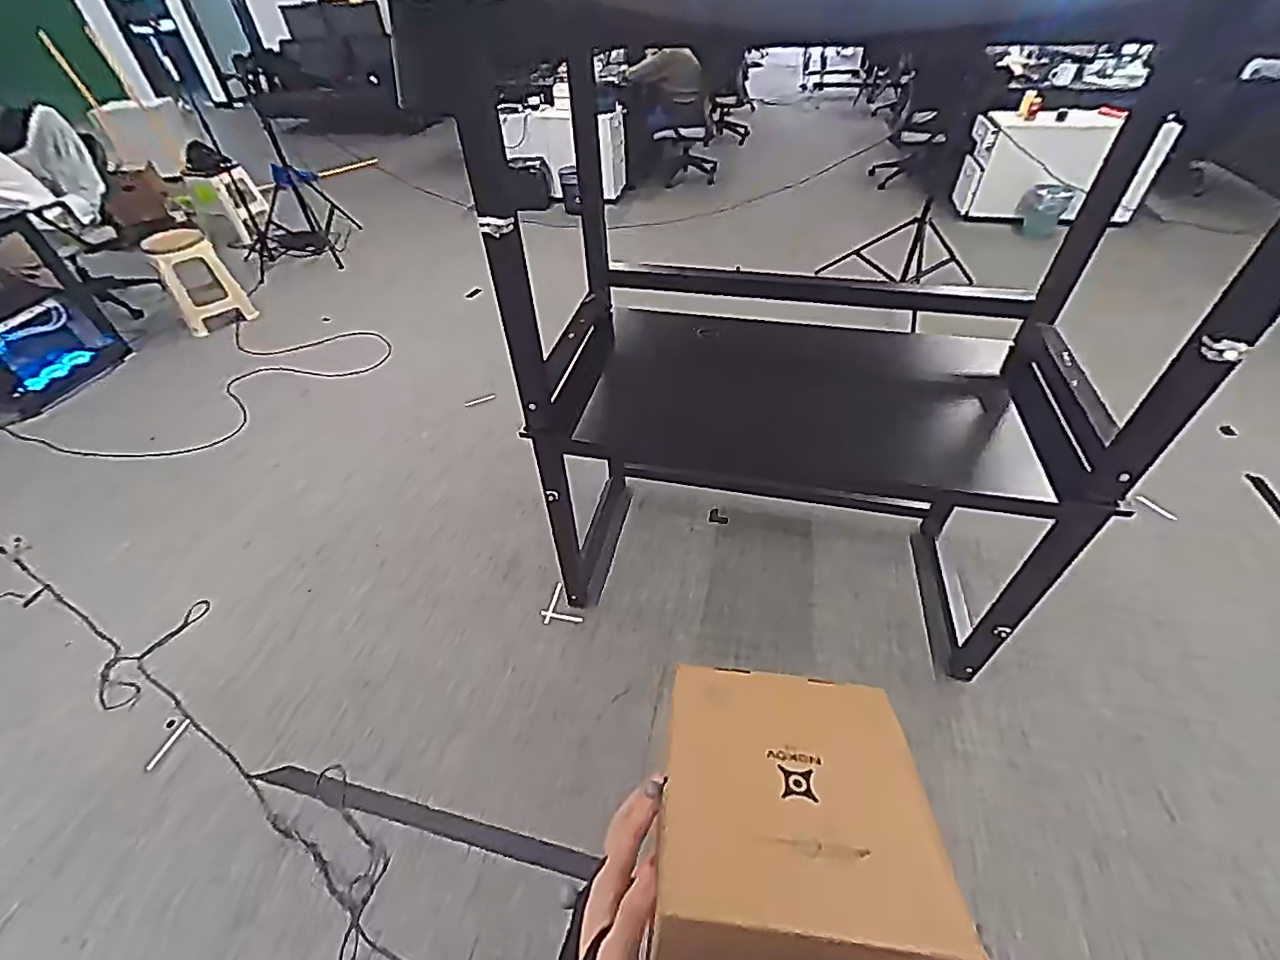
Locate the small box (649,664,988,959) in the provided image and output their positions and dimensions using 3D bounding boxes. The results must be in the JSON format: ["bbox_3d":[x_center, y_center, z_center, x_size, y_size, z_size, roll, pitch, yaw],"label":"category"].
[{"bbox_3d":[0.097,0.265,0.385,0.168,0.176,0.179,5,28,3],"label":"small box"}]
